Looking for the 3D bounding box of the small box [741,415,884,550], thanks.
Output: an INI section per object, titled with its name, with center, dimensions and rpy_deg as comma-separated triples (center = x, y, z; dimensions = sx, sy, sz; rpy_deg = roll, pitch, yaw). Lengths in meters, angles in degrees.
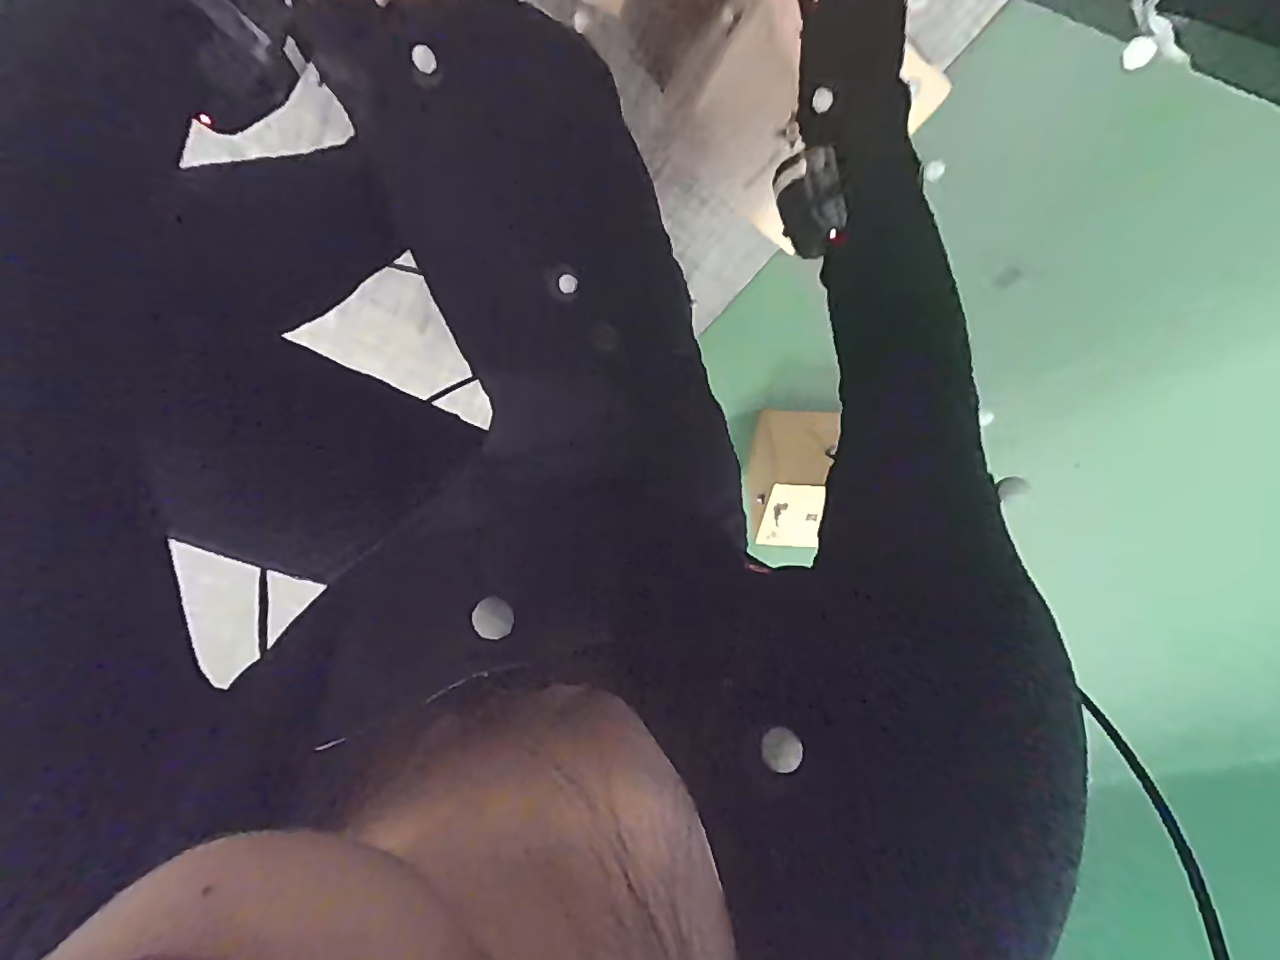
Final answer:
[small box]
center = 0.281, 0.004, 0.925
dimensions = 0.179, 0.176, 0.168
rpy_deg = 1, 140, -1
